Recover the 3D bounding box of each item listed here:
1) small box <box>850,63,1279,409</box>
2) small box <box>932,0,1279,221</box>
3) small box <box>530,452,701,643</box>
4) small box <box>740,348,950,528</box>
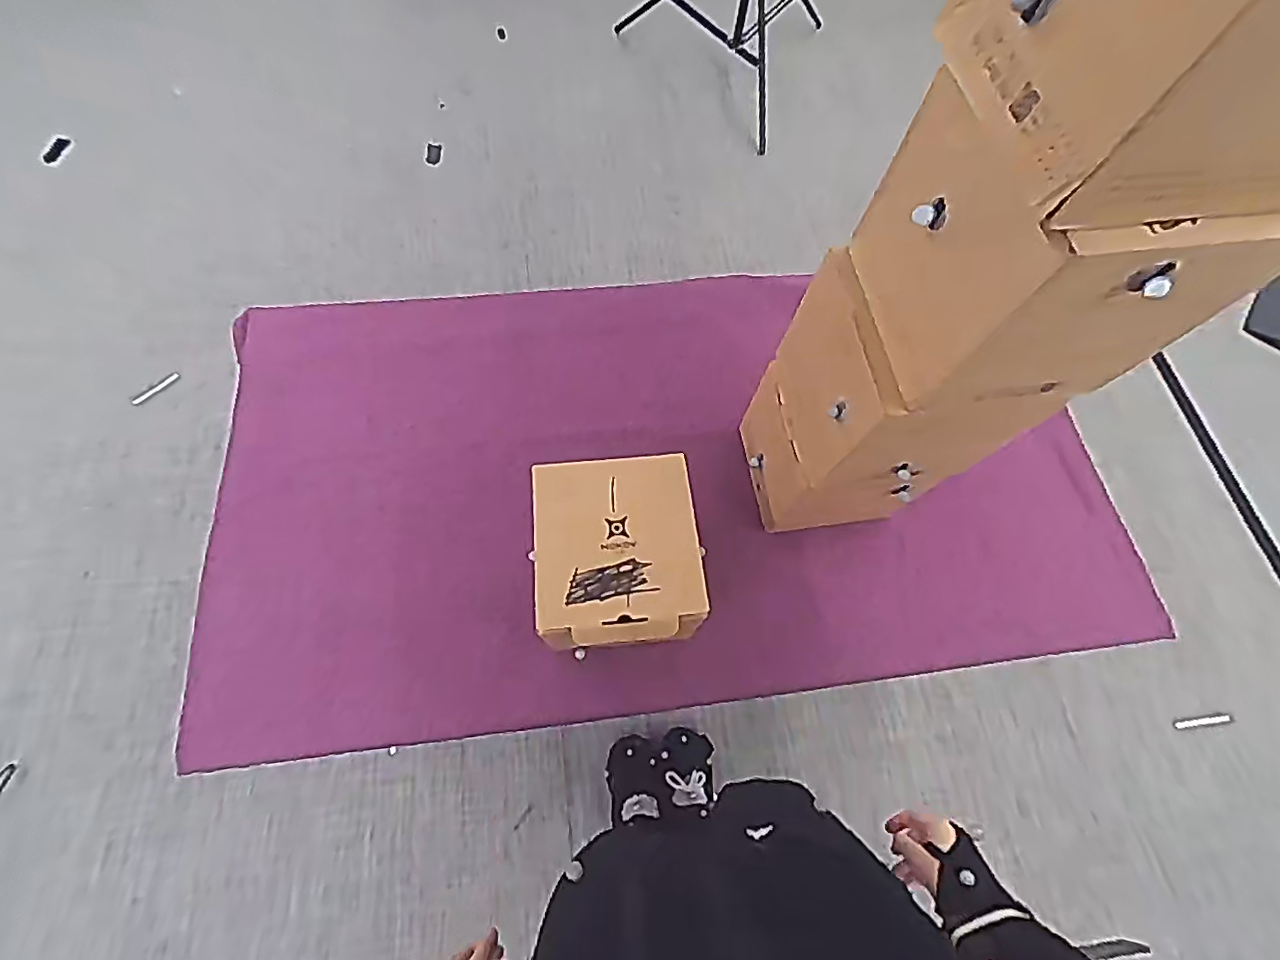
[{"bbox_3d":[0.277,-0.173,0.388,0.168,0.176,0.179,-7,68,-6],"label":"small box"},{"bbox_3d":[0.277,-0.244,0.241,0.179,0.176,0.168,-8,69,-6],"label":"small box"},{"bbox_3d":[-0.030,0.086,0.620,0.168,0.176,0.179,-5,66,-5],"label":"small box"},{"bbox_3d":[0.243,-0.047,0.688,0.179,0.176,0.168,-7,68,-5],"label":"small box"}]
